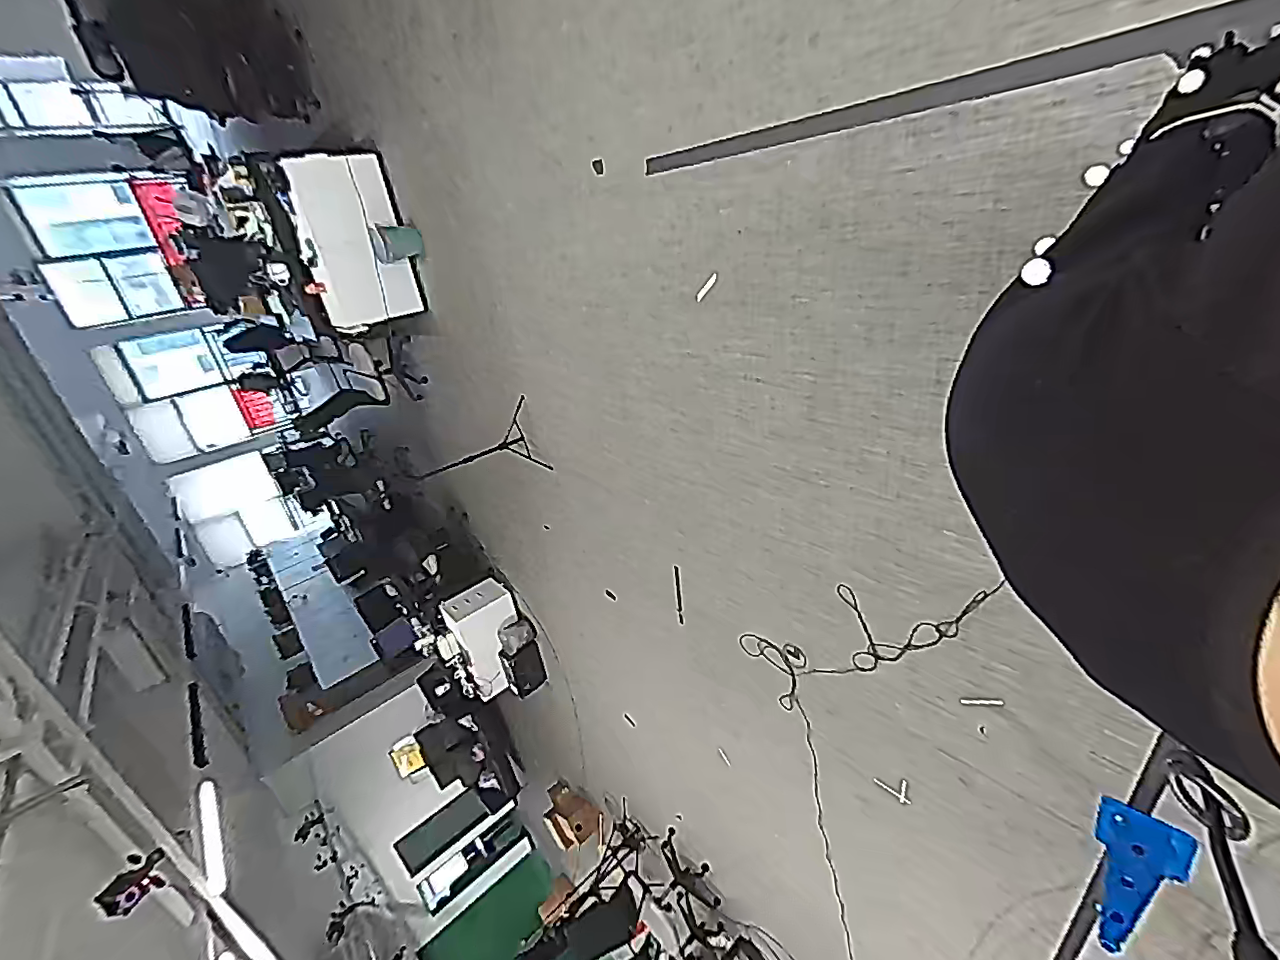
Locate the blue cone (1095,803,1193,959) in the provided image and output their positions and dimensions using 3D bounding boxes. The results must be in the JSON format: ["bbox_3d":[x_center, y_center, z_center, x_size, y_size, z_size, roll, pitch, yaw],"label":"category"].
[{"bbox_3d":[1.288,1.076,1.426,0.192,0.380,0.193,17,126,46],"label":"blue cone"}]
